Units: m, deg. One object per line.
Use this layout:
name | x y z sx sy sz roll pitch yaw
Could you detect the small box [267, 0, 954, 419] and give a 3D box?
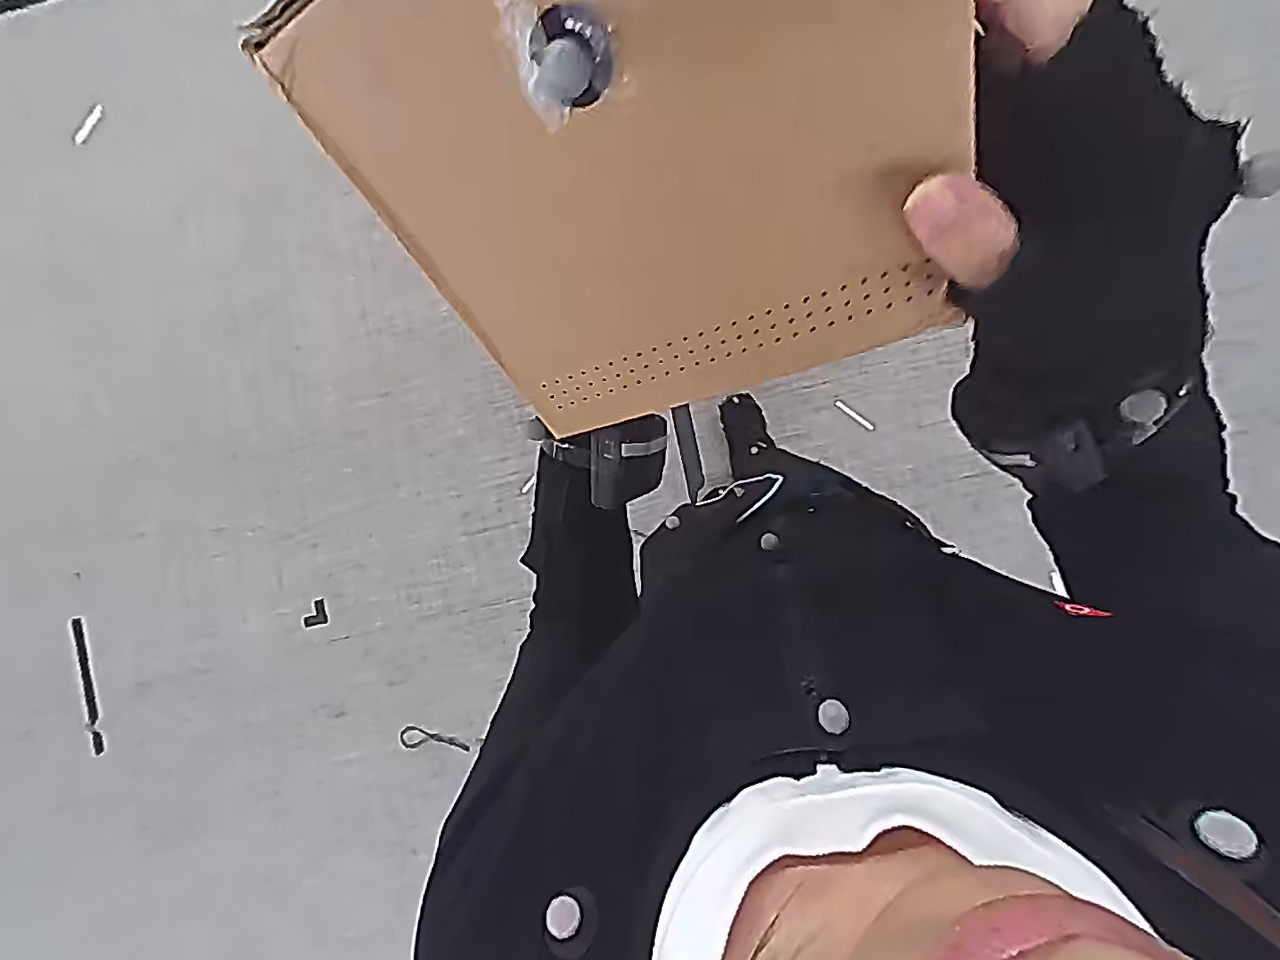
small box | 0.012 -0.148 0.223 0.179 0.176 0.168 -12 49 23
